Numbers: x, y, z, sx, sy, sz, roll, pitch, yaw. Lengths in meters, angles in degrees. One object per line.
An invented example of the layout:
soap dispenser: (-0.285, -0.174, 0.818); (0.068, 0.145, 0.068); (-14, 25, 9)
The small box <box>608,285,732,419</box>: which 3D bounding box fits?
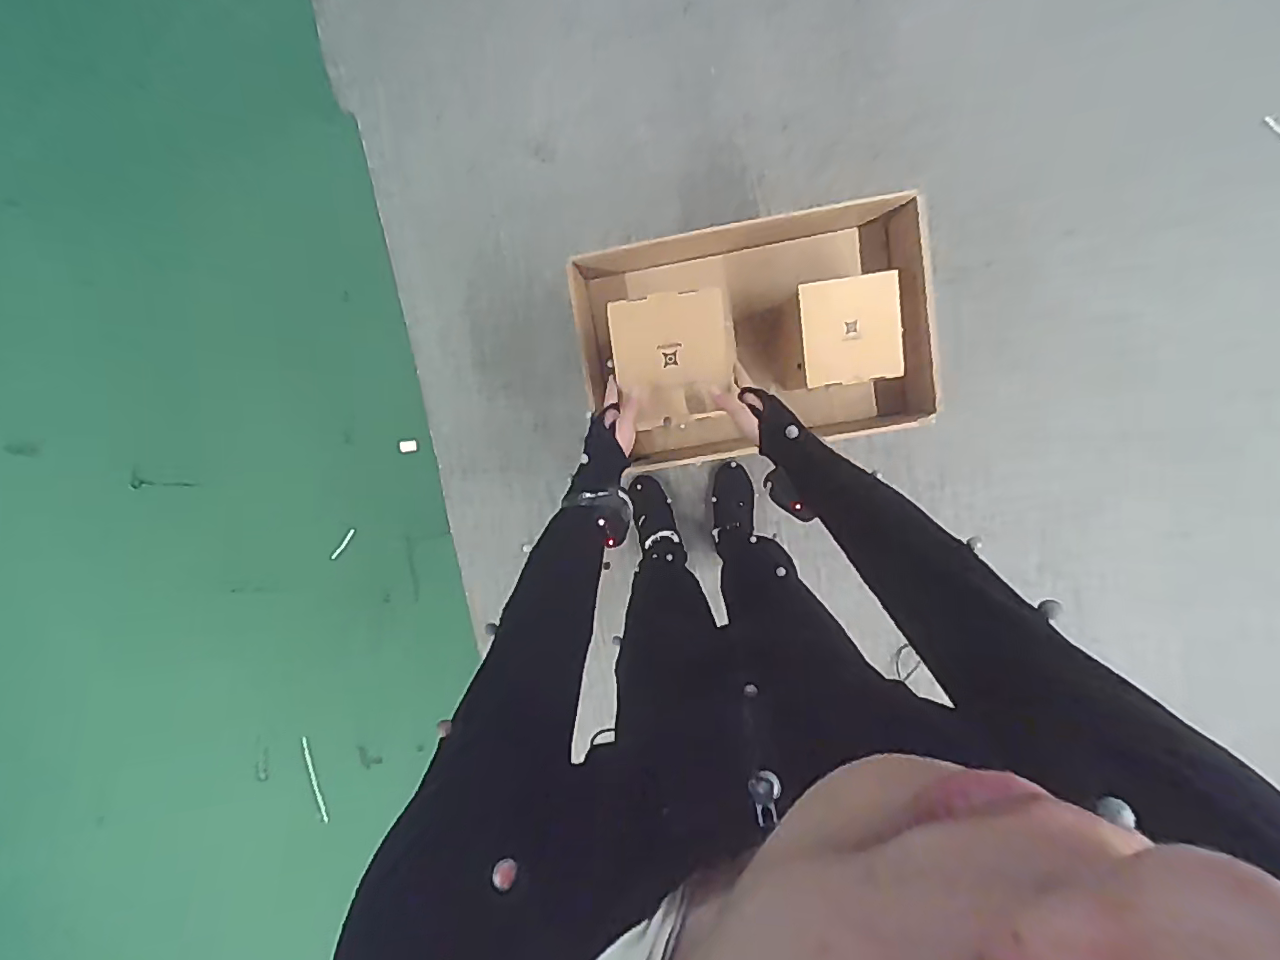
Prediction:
small box: (0.047, -0.190, 0.849); (0.168, 0.176, 0.179); (-6, 97, 5)
